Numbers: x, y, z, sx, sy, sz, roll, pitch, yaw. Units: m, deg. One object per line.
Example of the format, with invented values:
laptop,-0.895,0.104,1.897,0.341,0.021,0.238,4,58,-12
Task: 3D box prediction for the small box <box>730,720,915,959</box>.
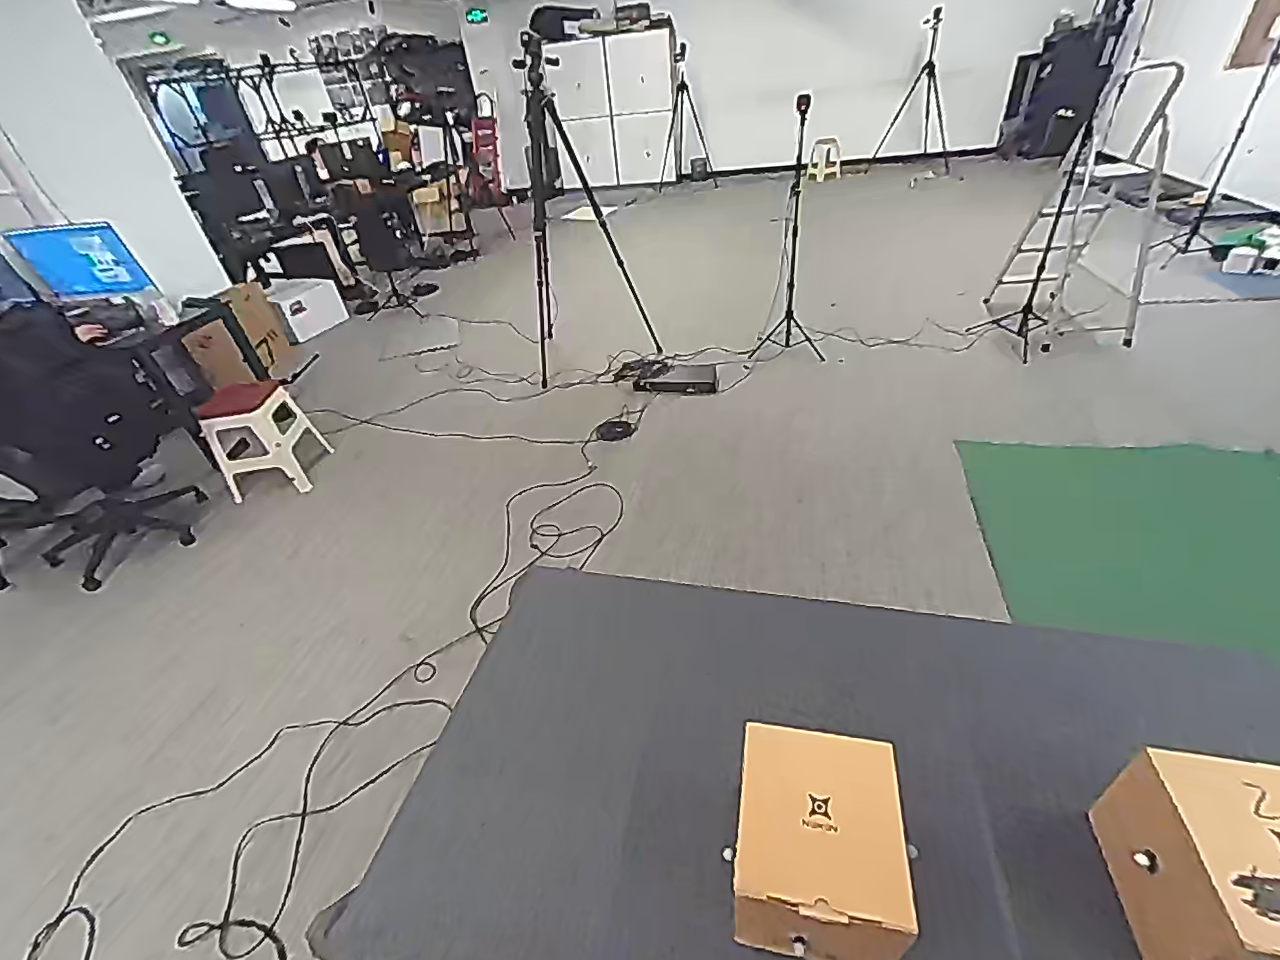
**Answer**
small box,0.193,0.410,0.616,0.168,0.176,0.179,4,39,13
